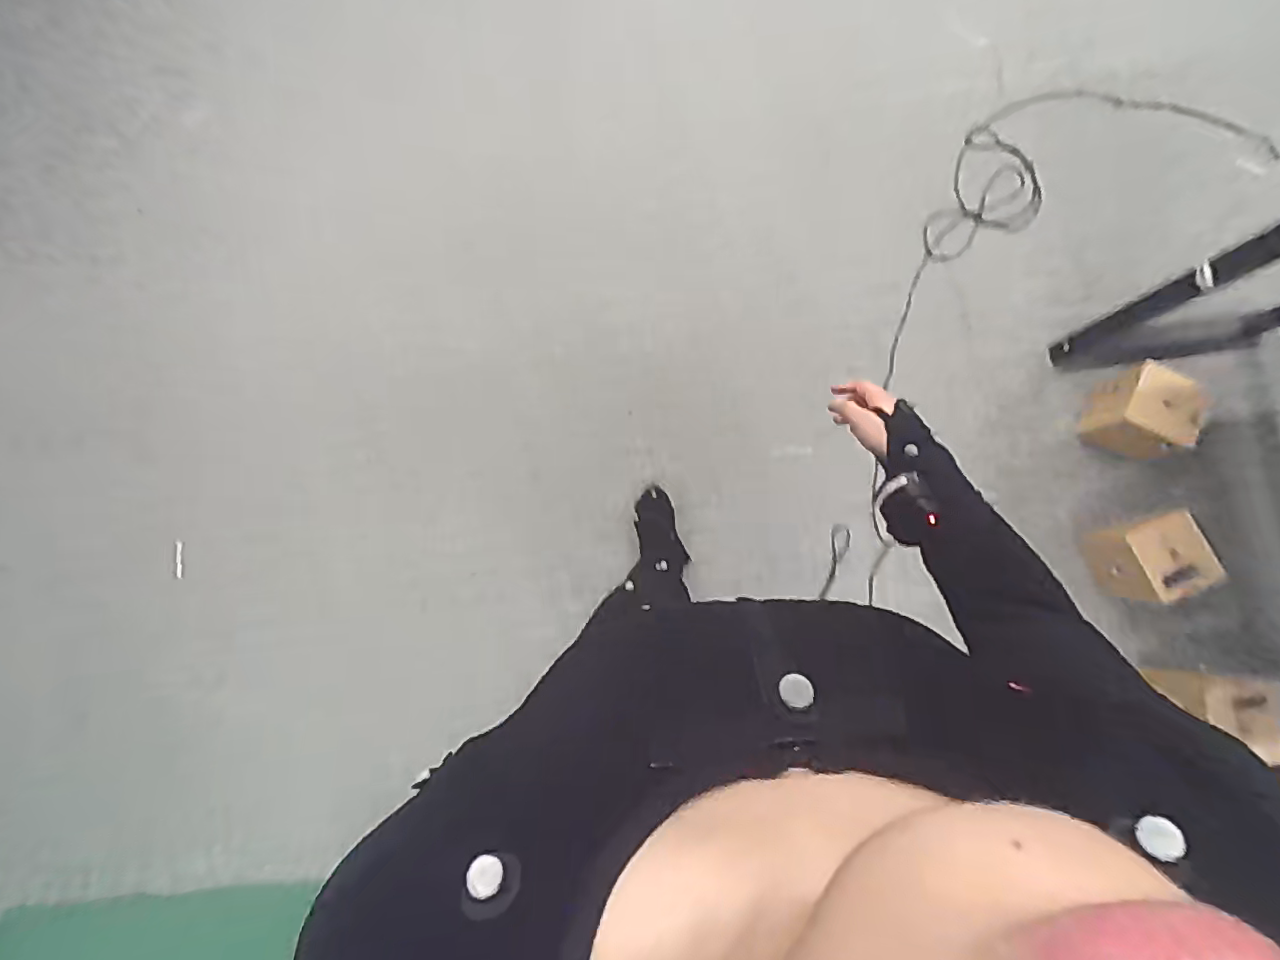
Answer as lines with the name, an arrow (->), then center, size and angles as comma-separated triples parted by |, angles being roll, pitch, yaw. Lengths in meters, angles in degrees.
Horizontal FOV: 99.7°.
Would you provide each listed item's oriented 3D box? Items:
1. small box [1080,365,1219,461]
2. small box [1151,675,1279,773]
small box -> 1.286, -0.161, 1.380 | 0.179, 0.176, 0.168 | 26, 83, 5
small box -> 1.357, 0.563, 1.268 | 0.168, 0.176, 0.179 | -1, 83, 3
